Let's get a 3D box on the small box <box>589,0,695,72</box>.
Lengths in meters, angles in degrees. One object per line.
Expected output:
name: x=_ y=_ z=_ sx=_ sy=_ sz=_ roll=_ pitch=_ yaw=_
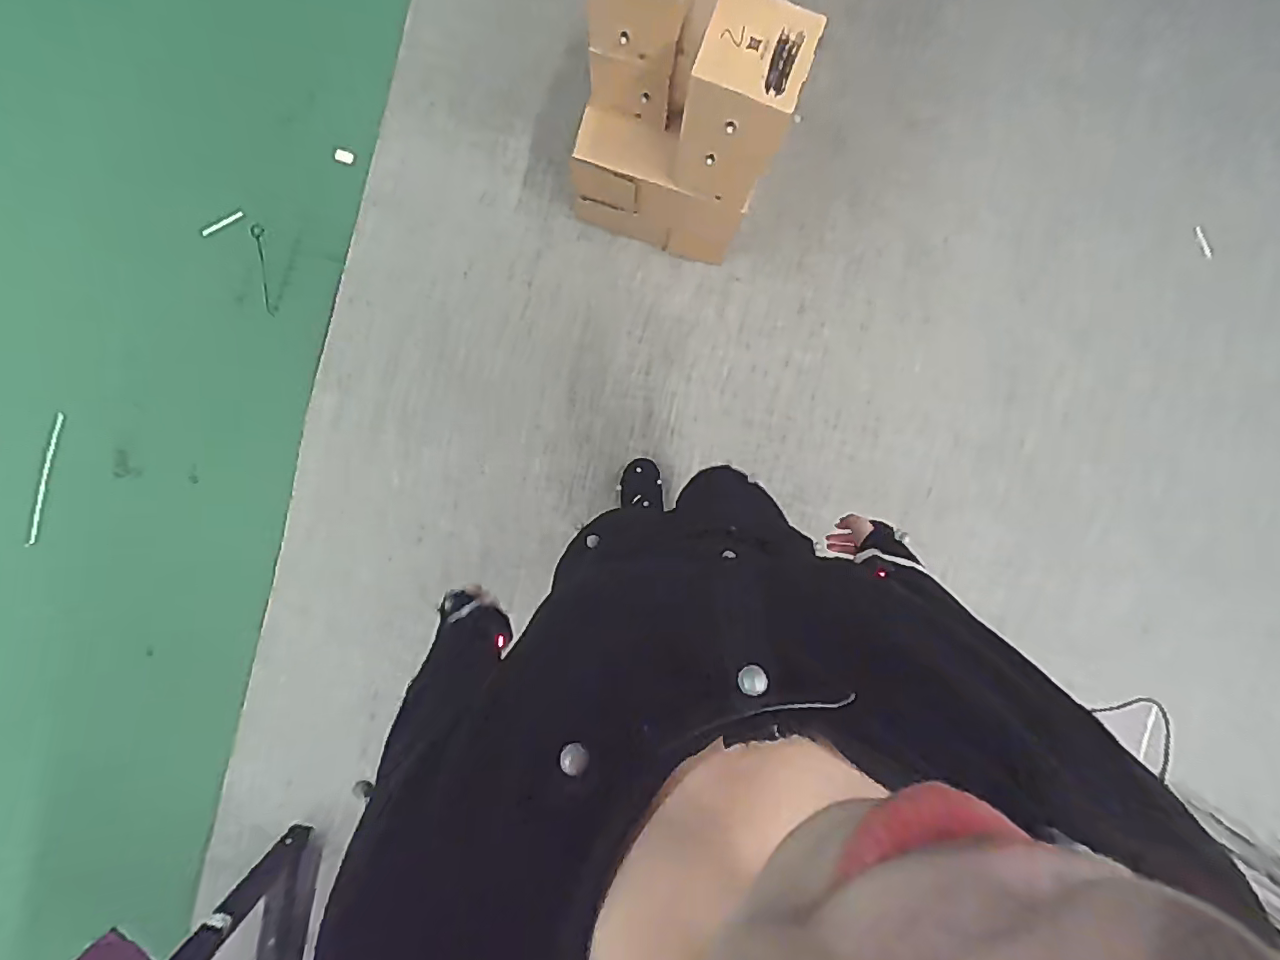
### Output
small box: x=0.010 y=-0.865 z=0.931 sx=0.168 sy=0.176 sz=0.179 roll=17 pitch=91 yaw=-1

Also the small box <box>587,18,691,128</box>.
small box: x=0.001 y=-0.862 z=1.094 sx=0.168 sy=0.176 sz=0.179 roll=17 pitch=89 yaw=-1

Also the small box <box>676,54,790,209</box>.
small box: x=0.177 y=-0.693 z=1.095 sx=0.168 sy=0.176 sz=0.179 roll=19 pitch=89 yaw=-1
